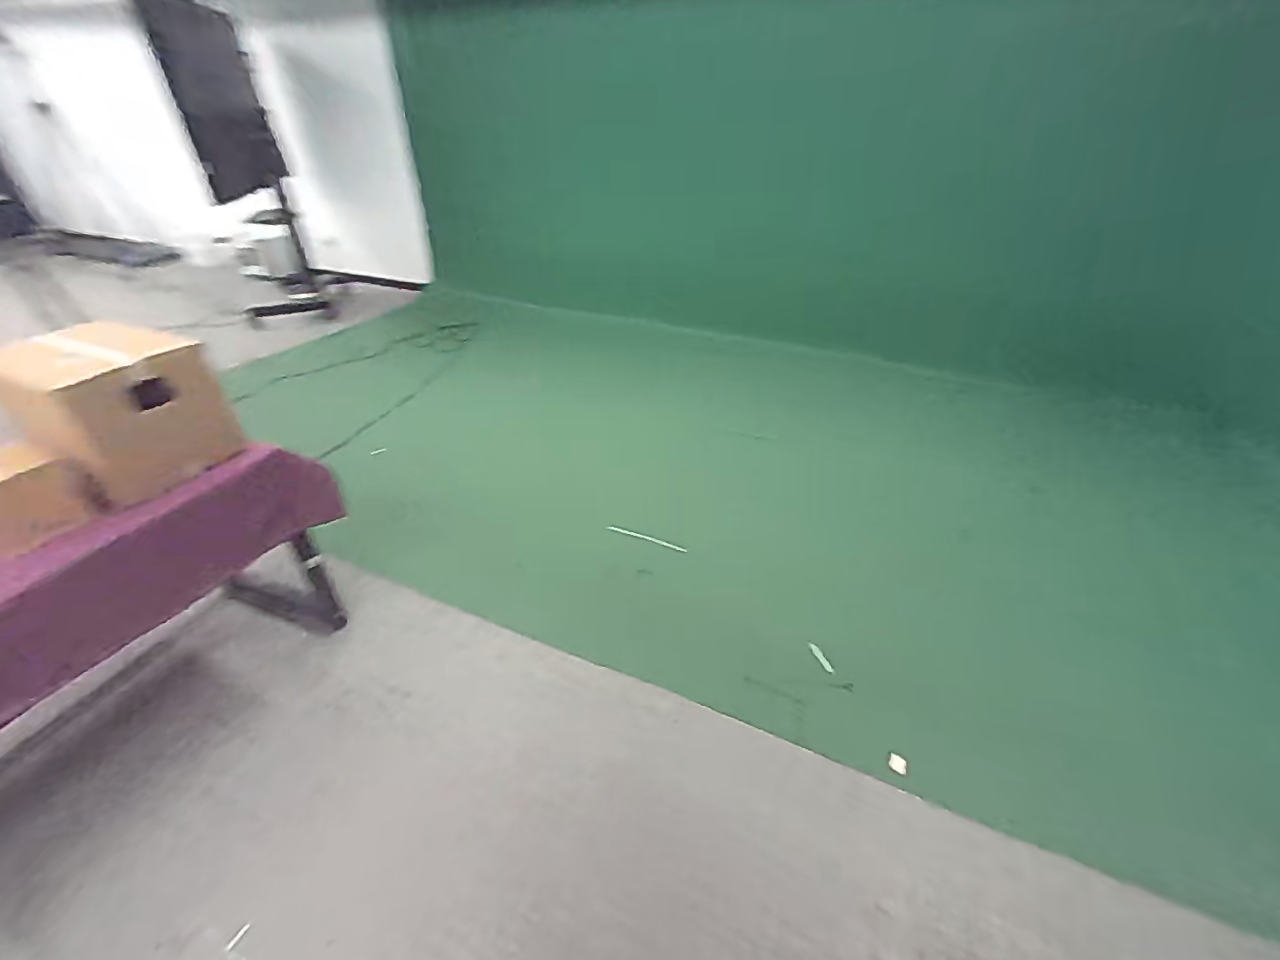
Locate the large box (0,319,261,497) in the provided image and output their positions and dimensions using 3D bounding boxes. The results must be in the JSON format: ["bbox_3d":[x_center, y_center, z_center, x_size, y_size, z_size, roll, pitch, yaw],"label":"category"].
[{"bbox_3d":[-1.310,-0.199,1.407,0.408,0.320,0.320,16,38,19],"label":"large box"}]
